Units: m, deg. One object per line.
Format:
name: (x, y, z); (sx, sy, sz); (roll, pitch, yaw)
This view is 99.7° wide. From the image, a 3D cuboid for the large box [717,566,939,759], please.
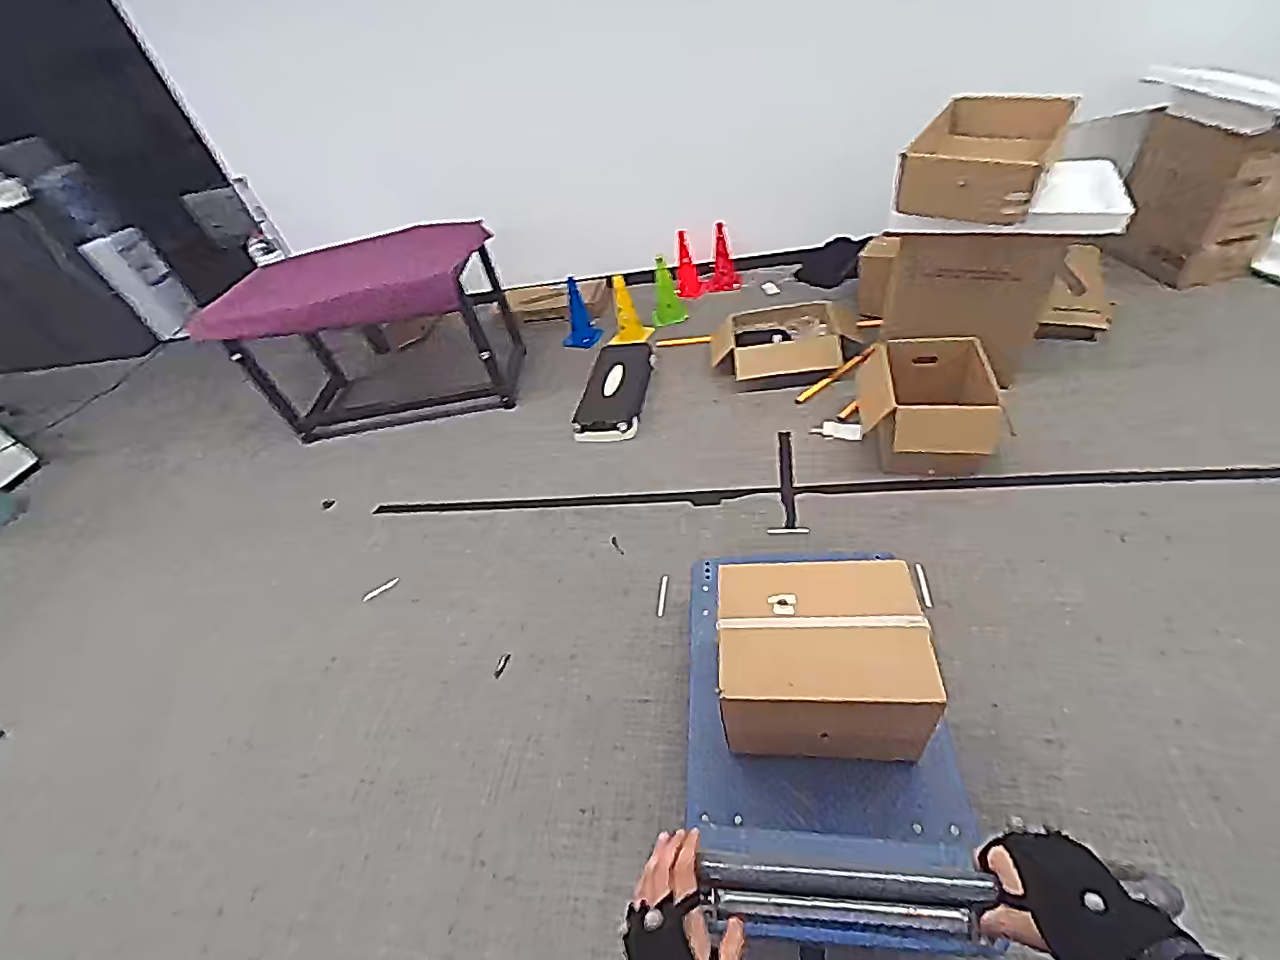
large box: (0.392, 0.417, 1.219); (0.408, 0.320, 0.320); (-4, 44, 12)
